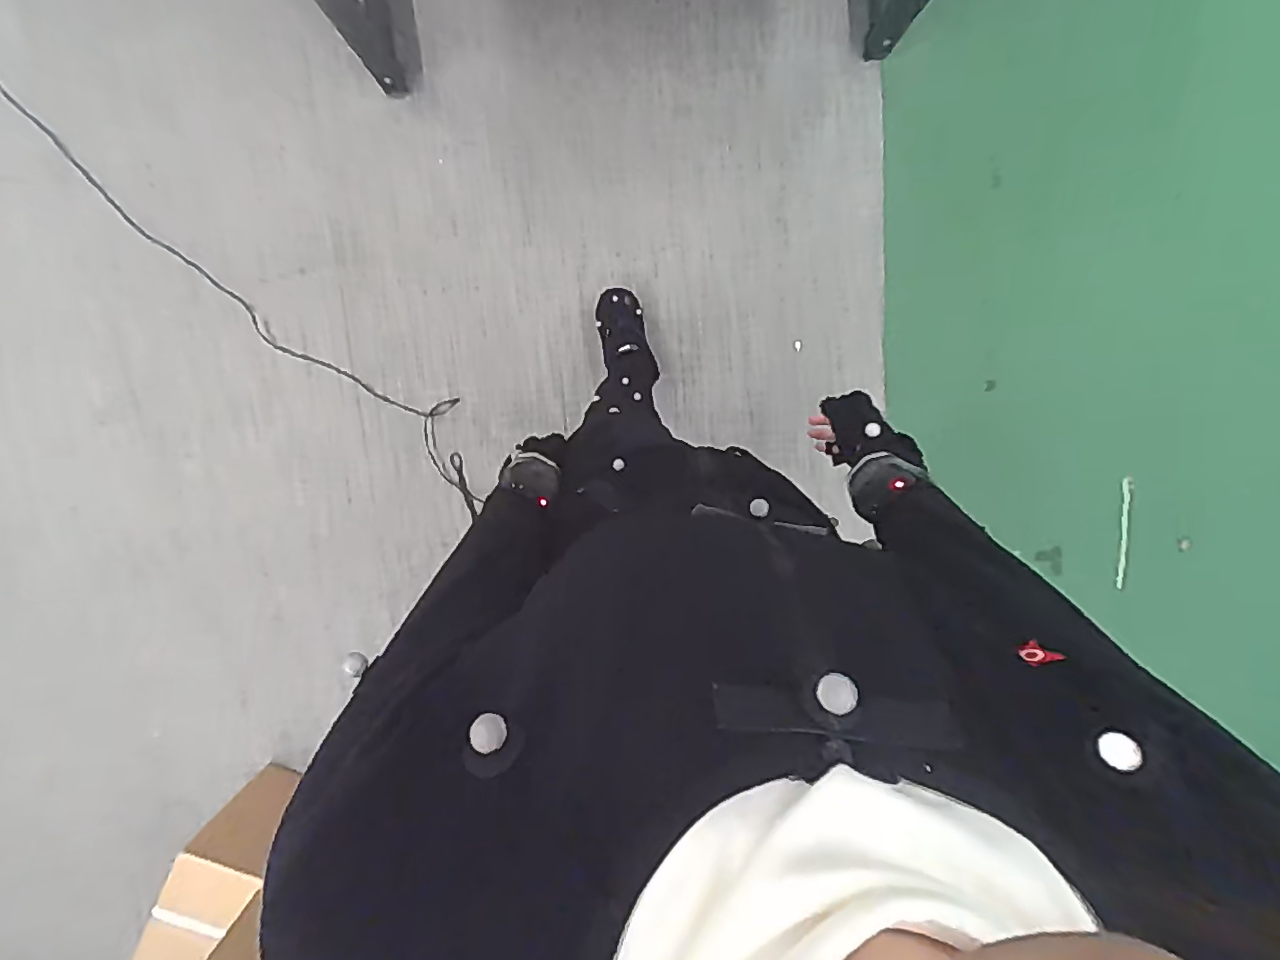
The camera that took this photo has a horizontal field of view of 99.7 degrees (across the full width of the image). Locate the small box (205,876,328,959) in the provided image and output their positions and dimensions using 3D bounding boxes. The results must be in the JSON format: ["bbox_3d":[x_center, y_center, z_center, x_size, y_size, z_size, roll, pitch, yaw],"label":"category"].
[{"bbox_3d":[-0.803,1.003,1.146,0.168,0.176,0.179,27,95,-6],"label":"small box"}]
